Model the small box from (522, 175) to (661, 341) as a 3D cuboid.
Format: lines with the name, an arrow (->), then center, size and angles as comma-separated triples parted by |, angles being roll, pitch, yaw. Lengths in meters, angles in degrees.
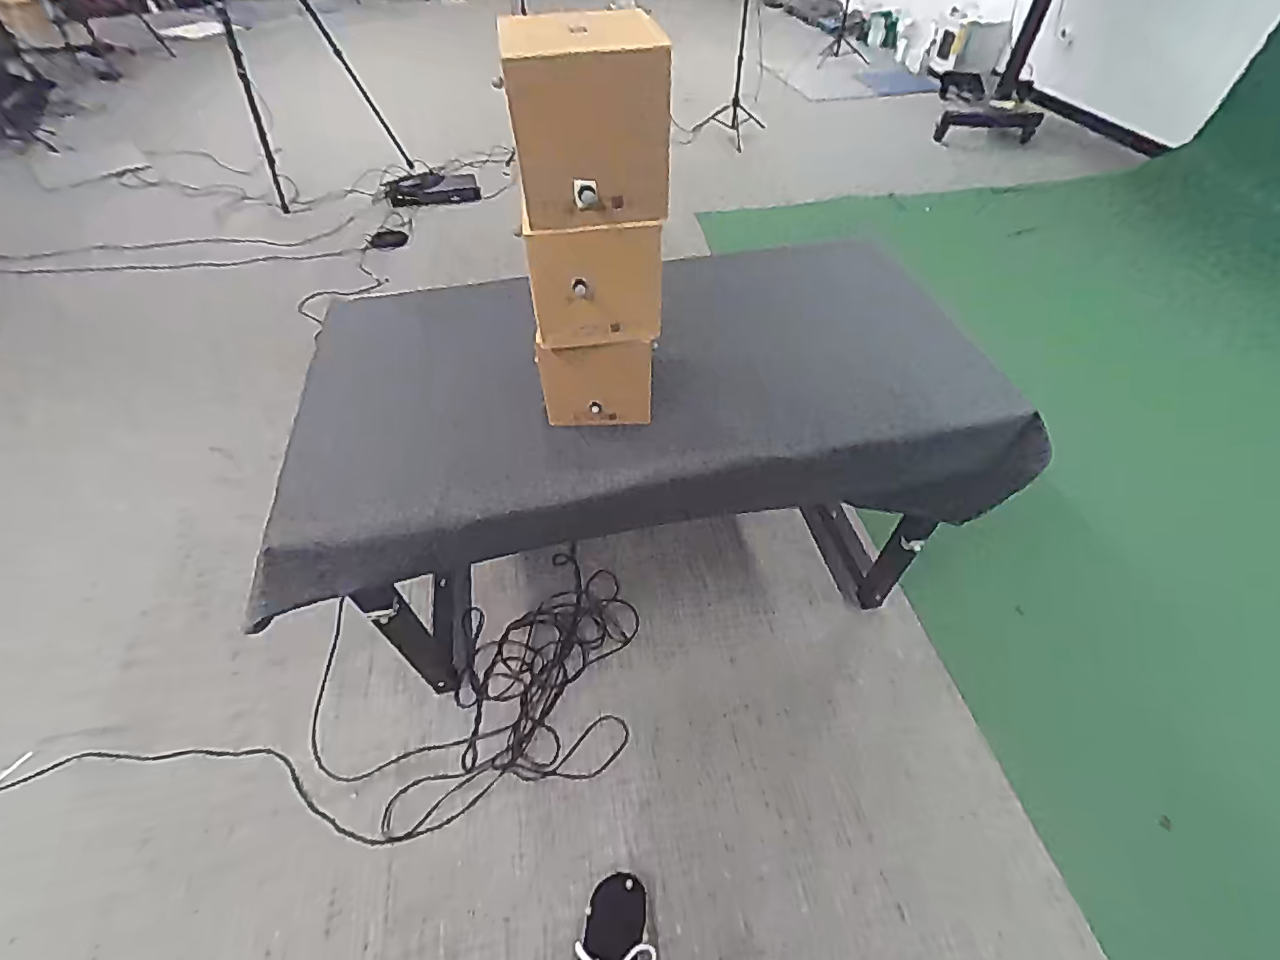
small box -> -0.064, -0.306, 0.743 | 0.168, 0.176, 0.179 | -8, 51, -5

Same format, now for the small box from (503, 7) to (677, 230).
small box -> -0.058, -0.412, 0.620 | 0.168, 0.176, 0.179 | -10, 52, -6
